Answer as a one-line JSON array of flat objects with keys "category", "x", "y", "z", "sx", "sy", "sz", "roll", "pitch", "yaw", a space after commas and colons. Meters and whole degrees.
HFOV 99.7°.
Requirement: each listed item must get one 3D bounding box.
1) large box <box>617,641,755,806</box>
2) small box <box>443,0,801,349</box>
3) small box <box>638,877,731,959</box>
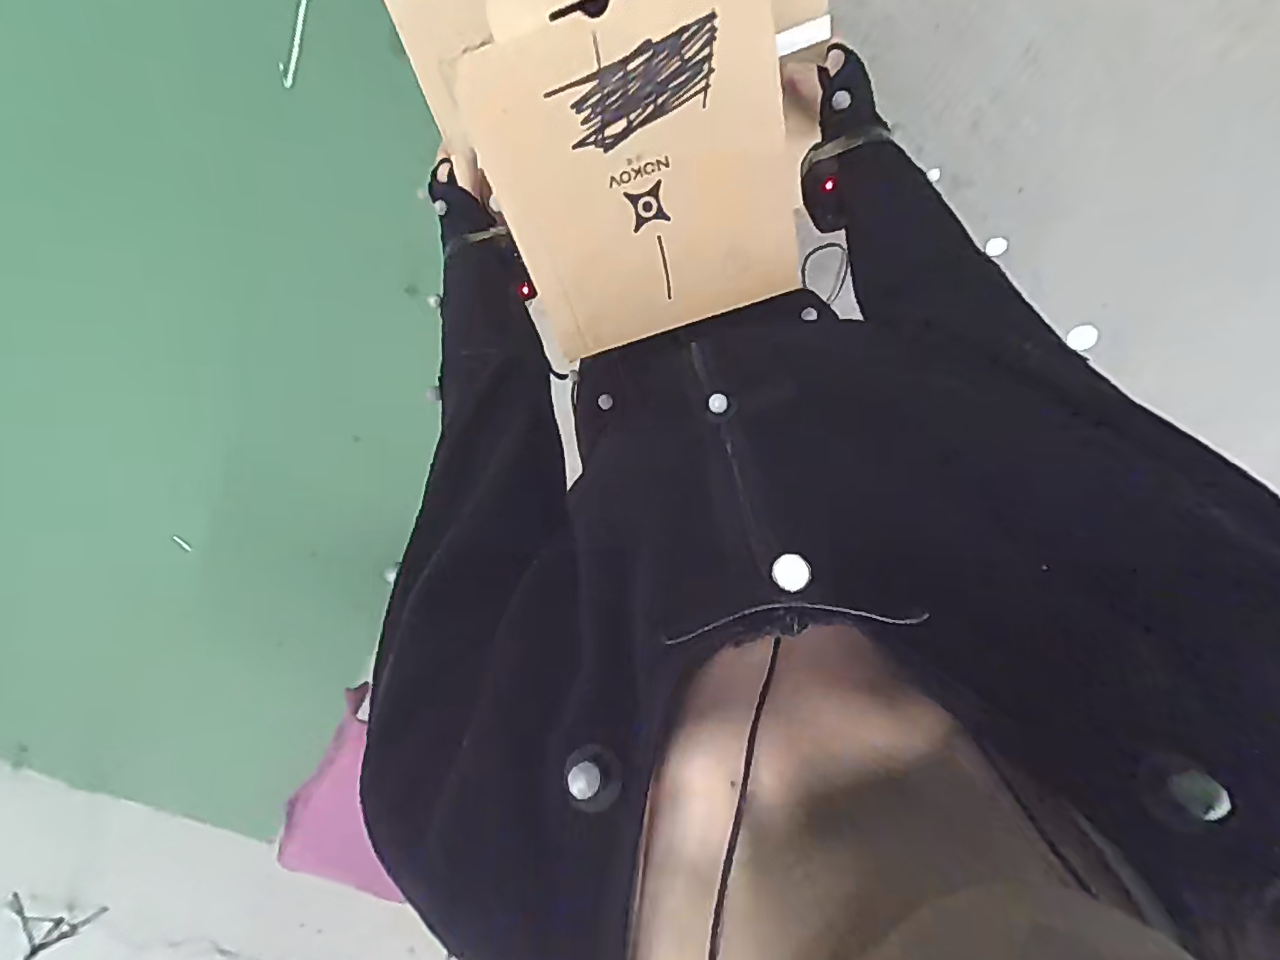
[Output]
[{"category": "large box", "x": 0.153, "y": 0.861, "z": 1.921, "sx": 0.320, "sy": 0.320, "sz": 0.408, "roll": 28, "pitch": 115, "yaw": -12}, {"category": "small box", "x": -0.003, "y": -0.221, "z": 0.363, "sx": 0.168, "sy": 0.176, "sz": 0.179, "roll": -15, "pitch": 130, "yaw": 7}, {"category": "small box", "x": 0.107, "y": 1.102, "z": 1.299, "sx": 0.168, "sy": 0.176, "sz": 0.179, "roll": 28, "pitch": 117, "yaw": -12}]
